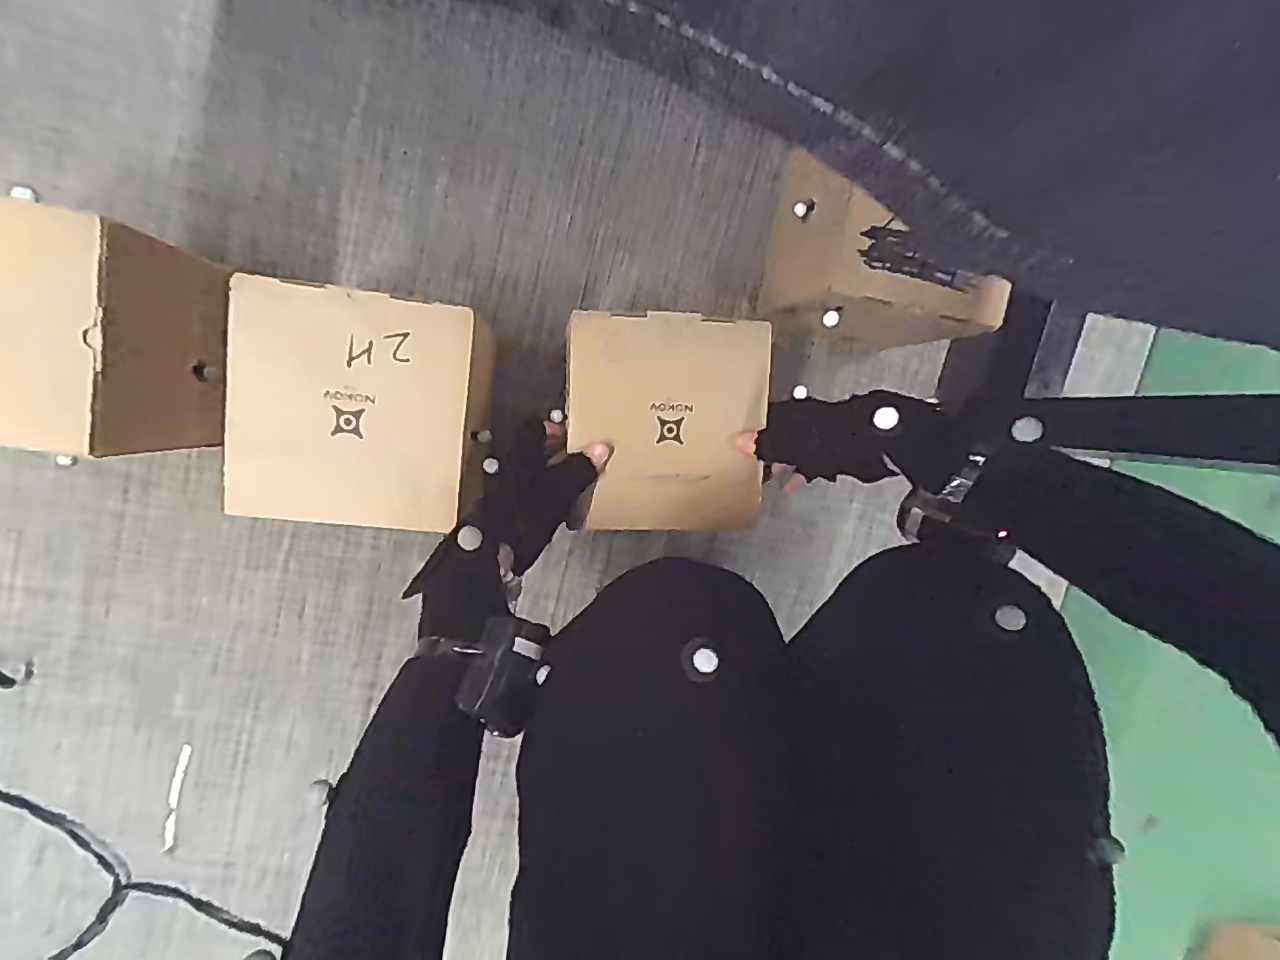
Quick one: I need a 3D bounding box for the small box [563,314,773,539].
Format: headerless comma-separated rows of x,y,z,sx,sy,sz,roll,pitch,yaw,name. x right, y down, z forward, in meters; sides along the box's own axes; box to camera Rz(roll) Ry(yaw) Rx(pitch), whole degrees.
0.014,-0.048,0.506,0.168,0.176,0.179,1,98,-6,small box

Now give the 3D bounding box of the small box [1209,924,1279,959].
0.978,0.796,0.787,0.179,0.176,0.168,12,96,-10,small box
